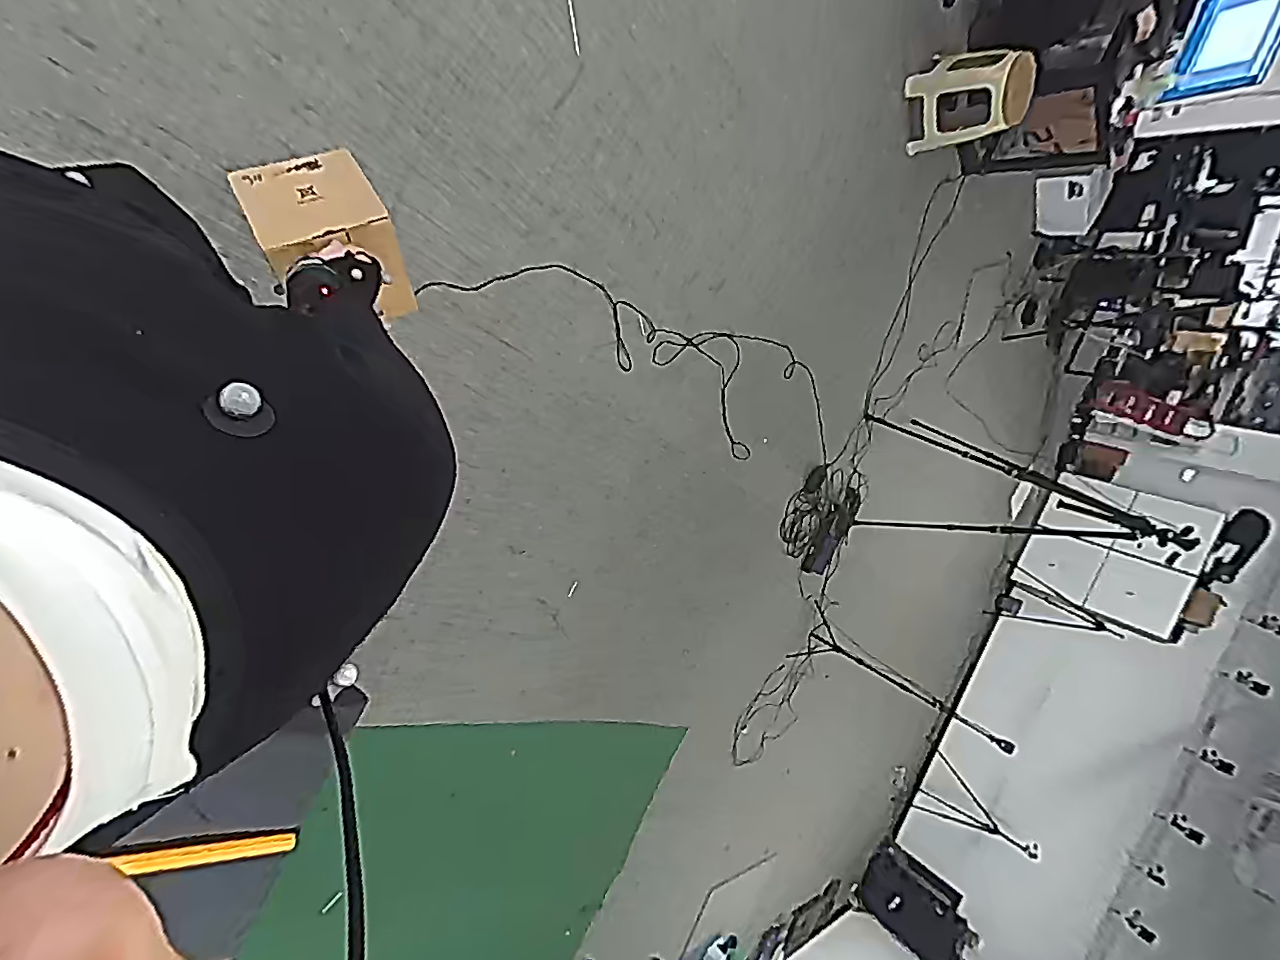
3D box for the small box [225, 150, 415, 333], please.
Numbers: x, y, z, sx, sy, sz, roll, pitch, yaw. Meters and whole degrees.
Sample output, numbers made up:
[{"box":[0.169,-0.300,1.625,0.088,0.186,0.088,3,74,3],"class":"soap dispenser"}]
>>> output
[{"box":[-0.465,-0.347,0.812,0.168,0.179,0.176,-30,159,-20],"class":"small box"}]
